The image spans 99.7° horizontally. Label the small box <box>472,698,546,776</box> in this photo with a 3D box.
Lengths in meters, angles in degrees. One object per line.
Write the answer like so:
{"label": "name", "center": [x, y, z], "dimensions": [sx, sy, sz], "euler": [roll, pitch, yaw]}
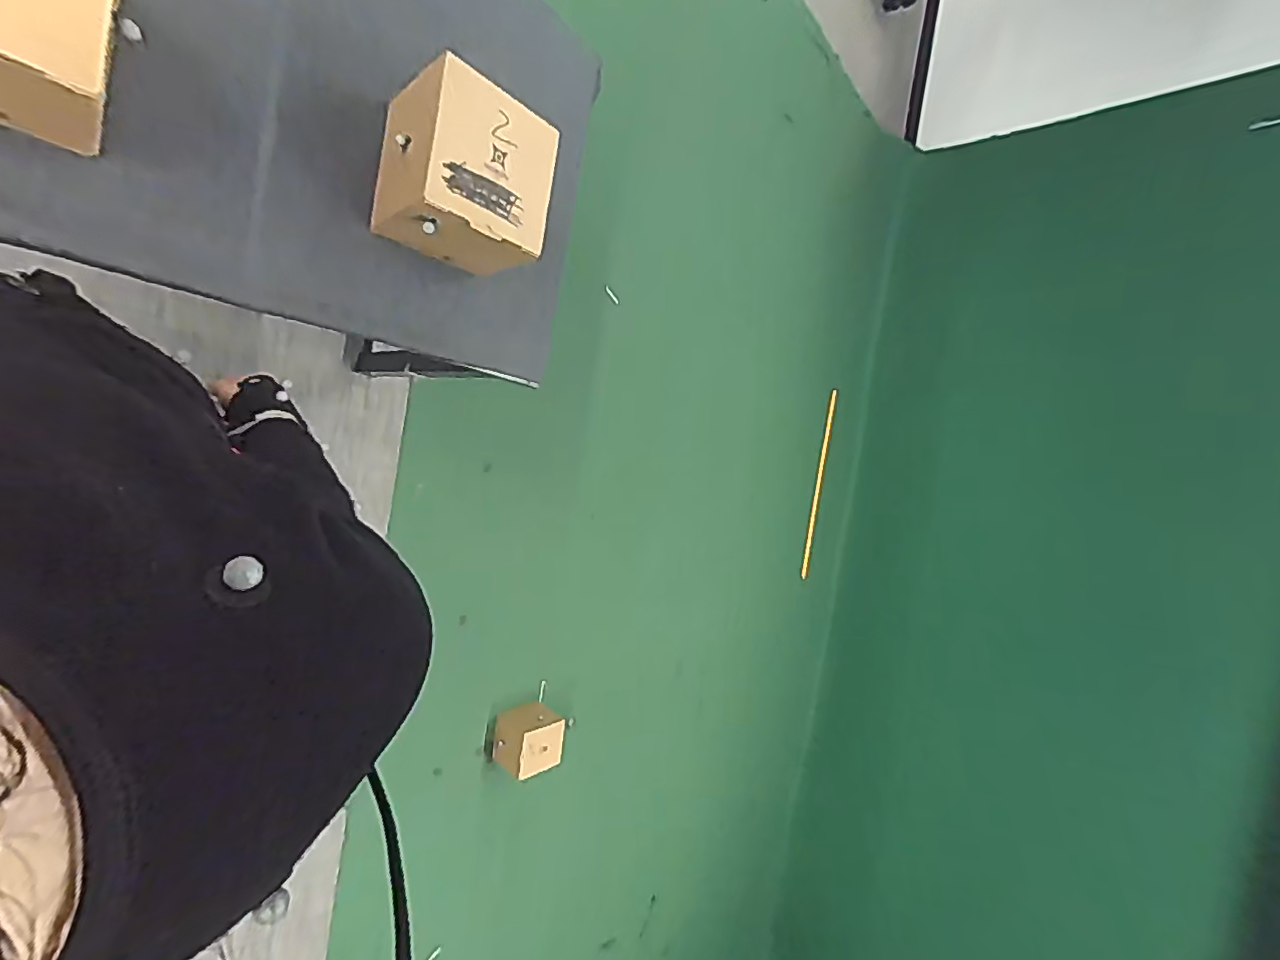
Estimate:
{"label": "small box", "center": [-0.457, 0.887, 1.890], "dimensions": [0.179, 0.176, 0.168], "euler": [4, 95, -49]}

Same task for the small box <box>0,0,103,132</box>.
{"label": "small box", "center": [-0.528, -0.411, 0.409], "dimensions": [0.168, 0.176, 0.179], "euler": [8, 93, -49]}
